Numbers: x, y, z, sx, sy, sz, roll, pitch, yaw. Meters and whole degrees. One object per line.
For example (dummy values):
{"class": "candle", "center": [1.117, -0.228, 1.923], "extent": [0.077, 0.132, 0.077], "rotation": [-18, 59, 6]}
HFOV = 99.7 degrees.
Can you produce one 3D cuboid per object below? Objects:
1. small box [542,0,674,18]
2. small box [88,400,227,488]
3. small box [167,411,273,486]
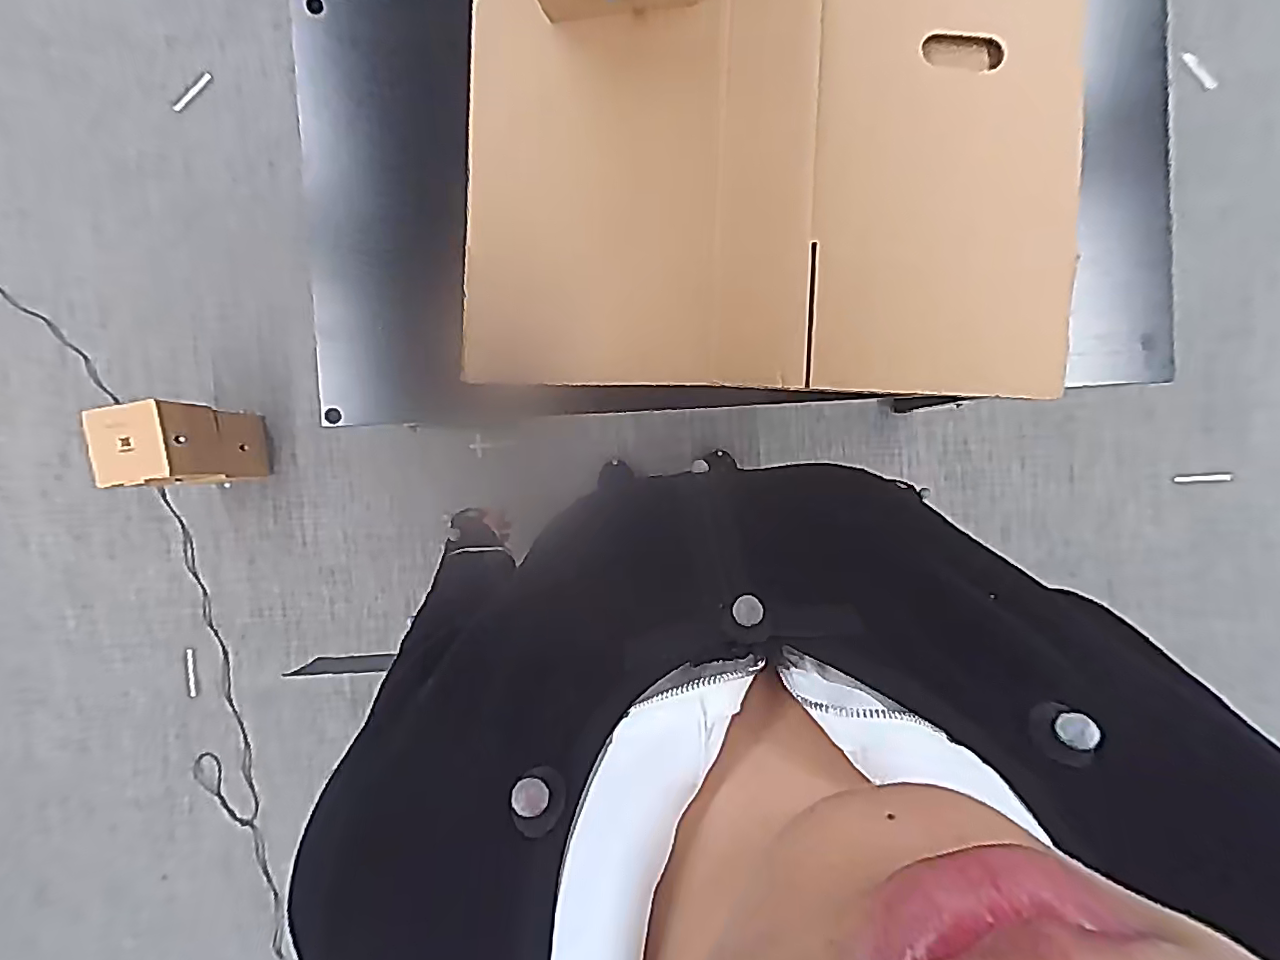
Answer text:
{"class": "small box", "center": [-0.034, -0.595, 0.515], "extent": [0.179, 0.176, 0.168], "rotation": [4, 92, 13]}
{"class": "small box", "center": [-1.119, -0.082, 1.270], "extent": [0.168, 0.176, 0.179], "rotation": [-10, 91, 0]}
{"class": "small box", "center": [-1.116, -0.082, 1.432], "extent": [0.168, 0.176, 0.179], "rotation": [-7, 93, 1]}
